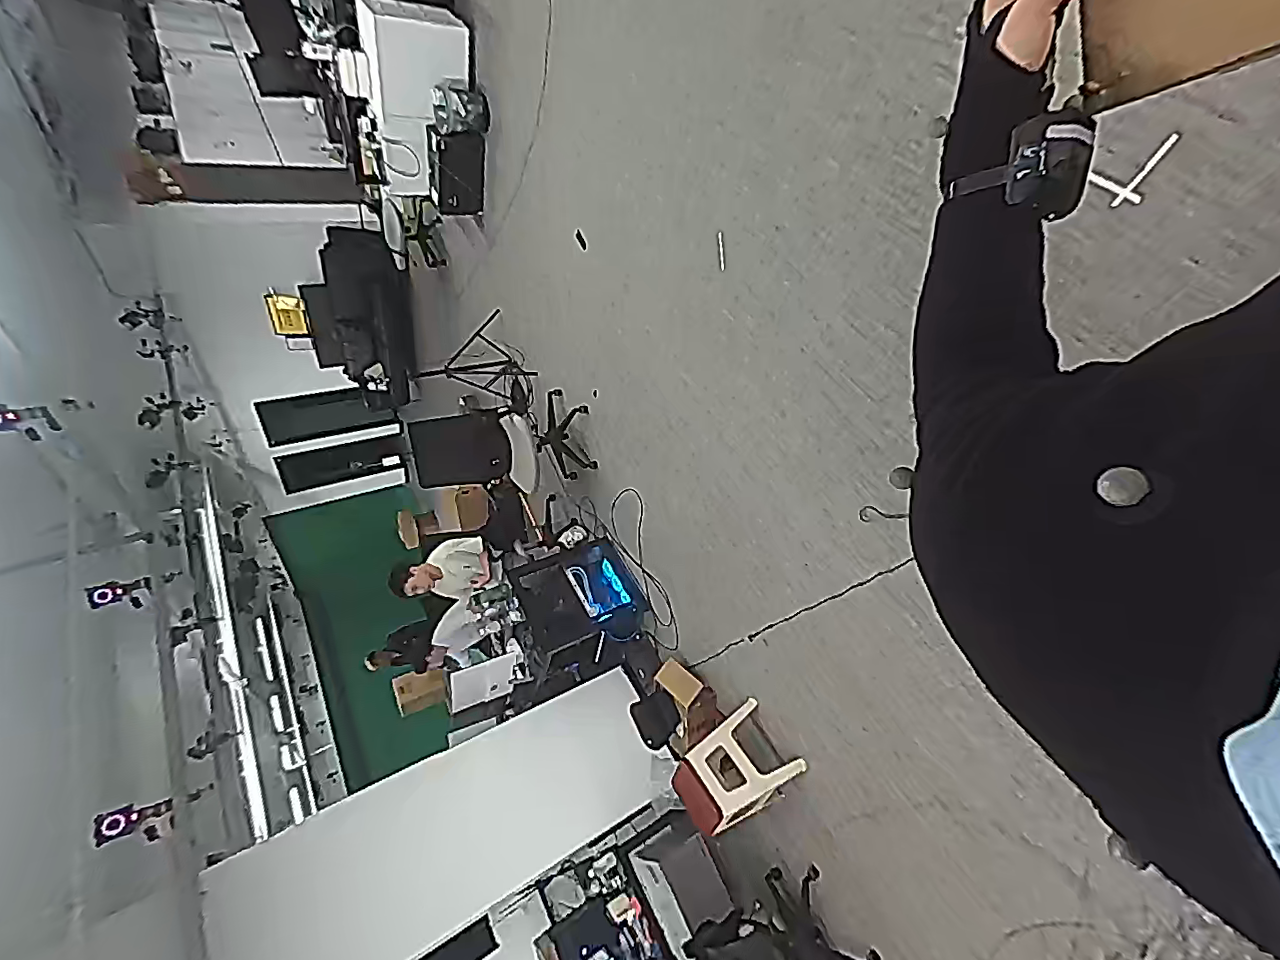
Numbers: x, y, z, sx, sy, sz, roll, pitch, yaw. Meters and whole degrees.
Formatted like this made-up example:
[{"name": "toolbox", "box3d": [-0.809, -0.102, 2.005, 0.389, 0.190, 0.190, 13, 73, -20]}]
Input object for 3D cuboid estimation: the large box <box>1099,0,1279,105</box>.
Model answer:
[{"name": "large box", "box3d": [0.528, -0.468, 0.262, 0.408, 0.320, 0.320, 11, 123, 59]}]
